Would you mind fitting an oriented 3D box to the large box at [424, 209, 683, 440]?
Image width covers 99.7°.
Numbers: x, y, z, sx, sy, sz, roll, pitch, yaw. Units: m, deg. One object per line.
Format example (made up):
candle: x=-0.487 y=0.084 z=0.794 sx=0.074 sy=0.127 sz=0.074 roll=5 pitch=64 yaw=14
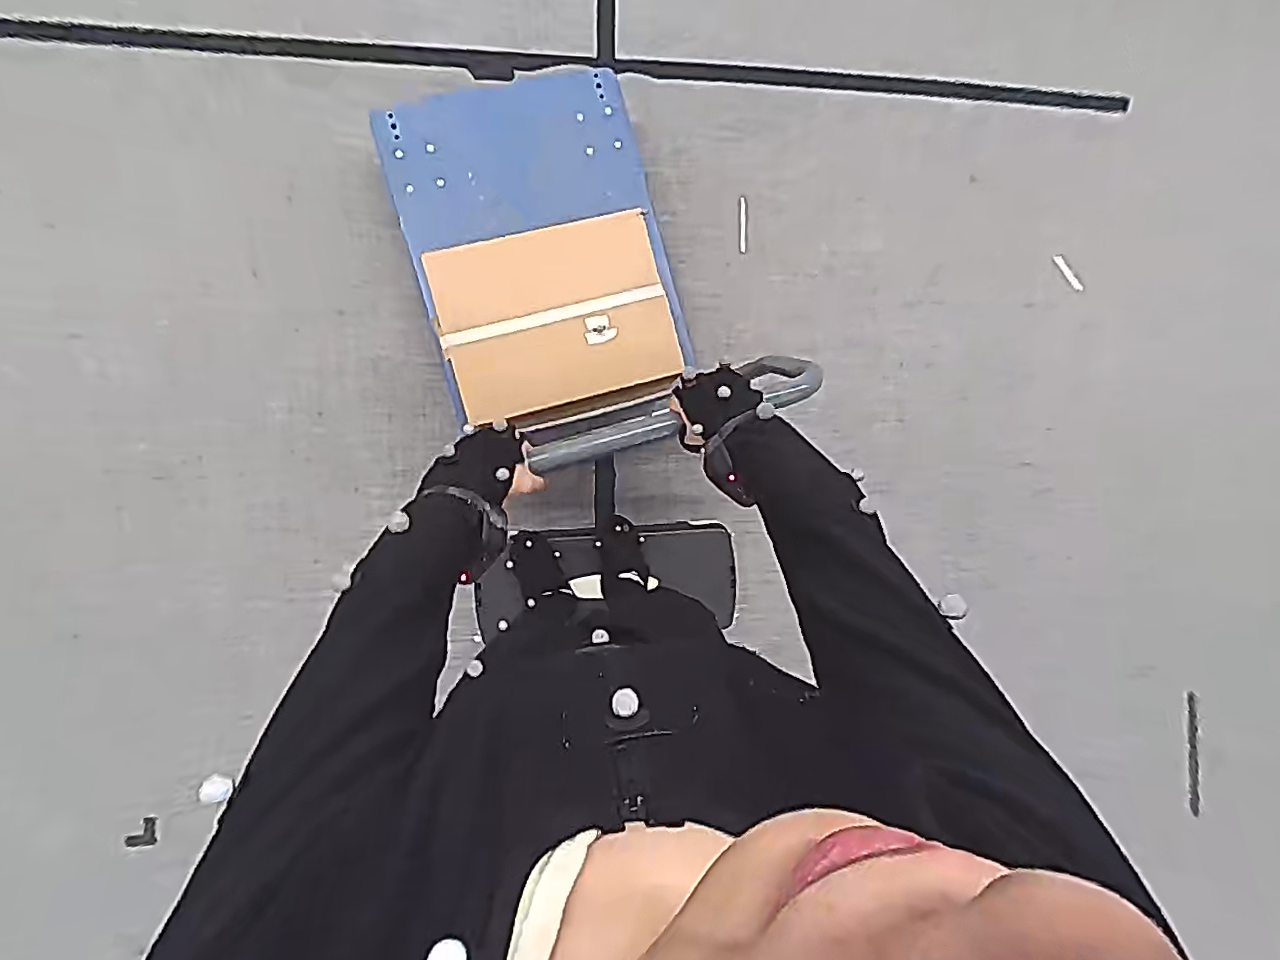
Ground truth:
large box: x=-0.171 y=-0.293 z=1.116 sx=0.408 sy=0.320 sz=0.320 roll=-17 pitch=93 yaw=-9
